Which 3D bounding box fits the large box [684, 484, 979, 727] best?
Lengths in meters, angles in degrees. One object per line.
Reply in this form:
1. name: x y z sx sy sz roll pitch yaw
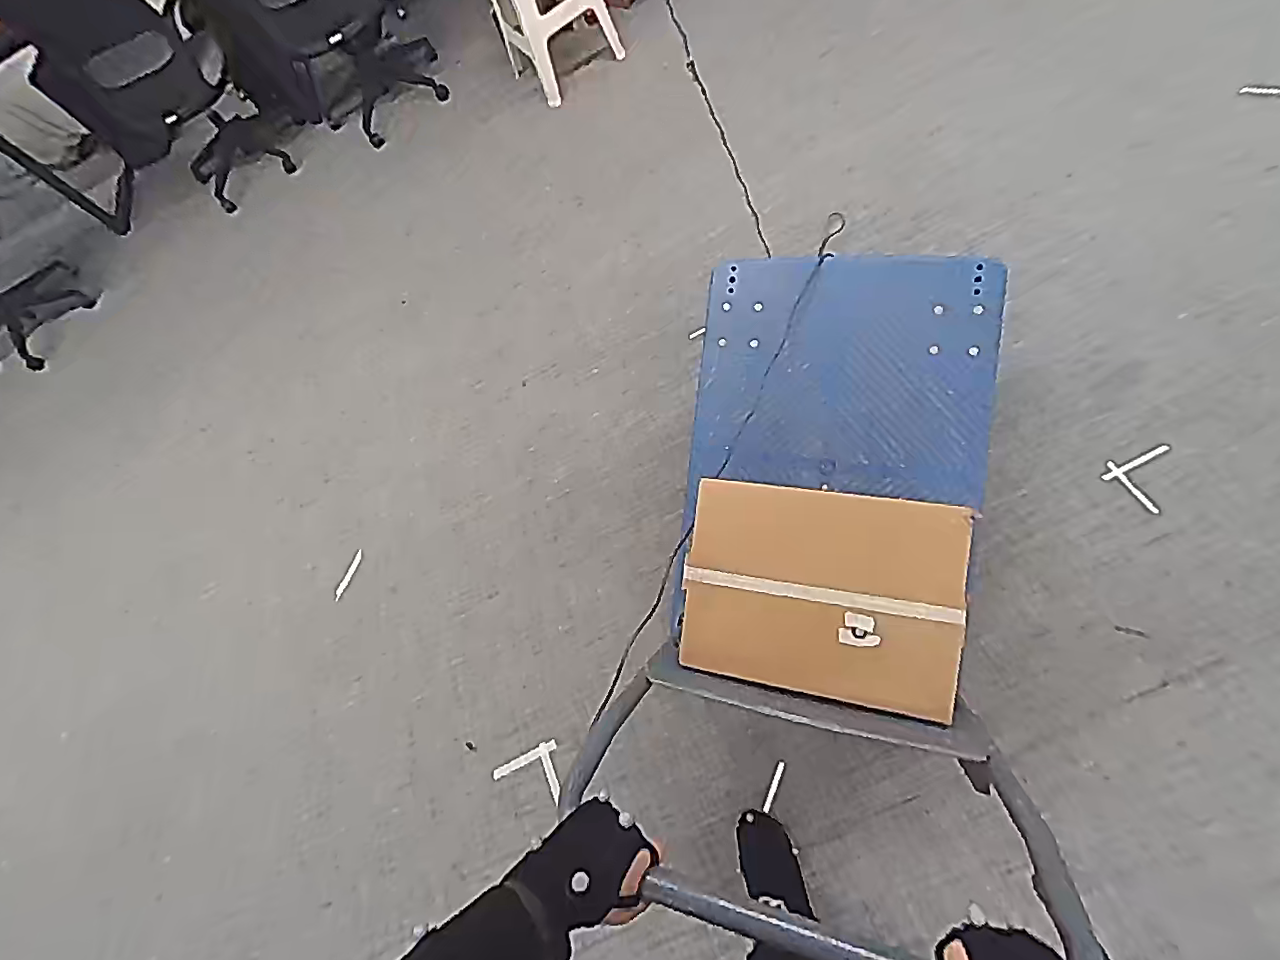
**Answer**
1. large box: 0.314 0.186 0.957 0.408 0.320 0.320 7 90 17
